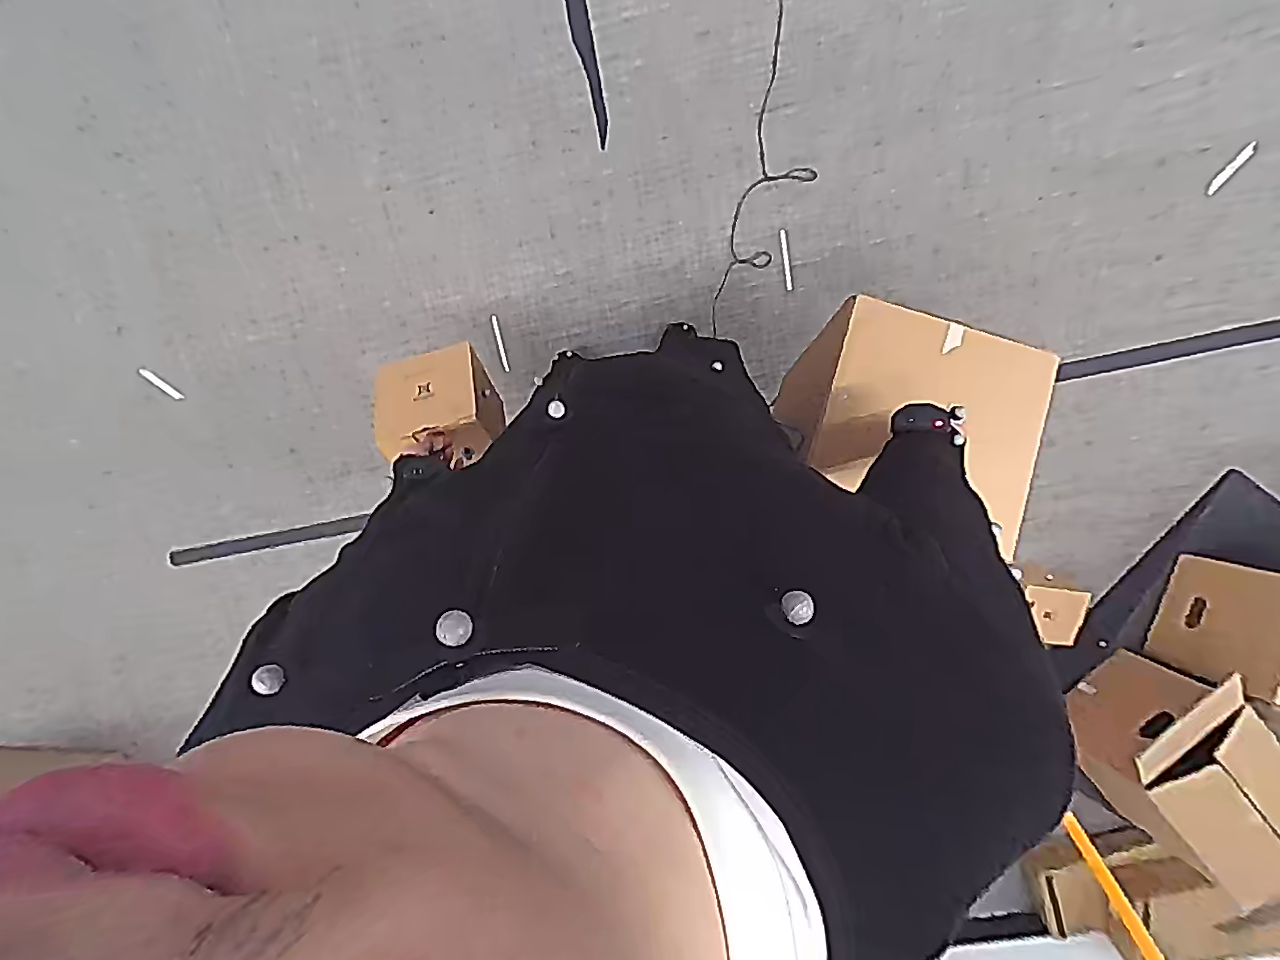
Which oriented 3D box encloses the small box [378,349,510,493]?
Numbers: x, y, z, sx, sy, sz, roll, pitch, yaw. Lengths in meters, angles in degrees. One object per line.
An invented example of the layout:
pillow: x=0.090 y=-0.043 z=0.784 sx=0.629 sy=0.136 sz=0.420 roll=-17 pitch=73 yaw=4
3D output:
small box: x=-0.339 y=-0.096 z=0.958 sx=0.168 sy=0.179 sz=0.176 roll=-16 pitch=146 yaw=-2
